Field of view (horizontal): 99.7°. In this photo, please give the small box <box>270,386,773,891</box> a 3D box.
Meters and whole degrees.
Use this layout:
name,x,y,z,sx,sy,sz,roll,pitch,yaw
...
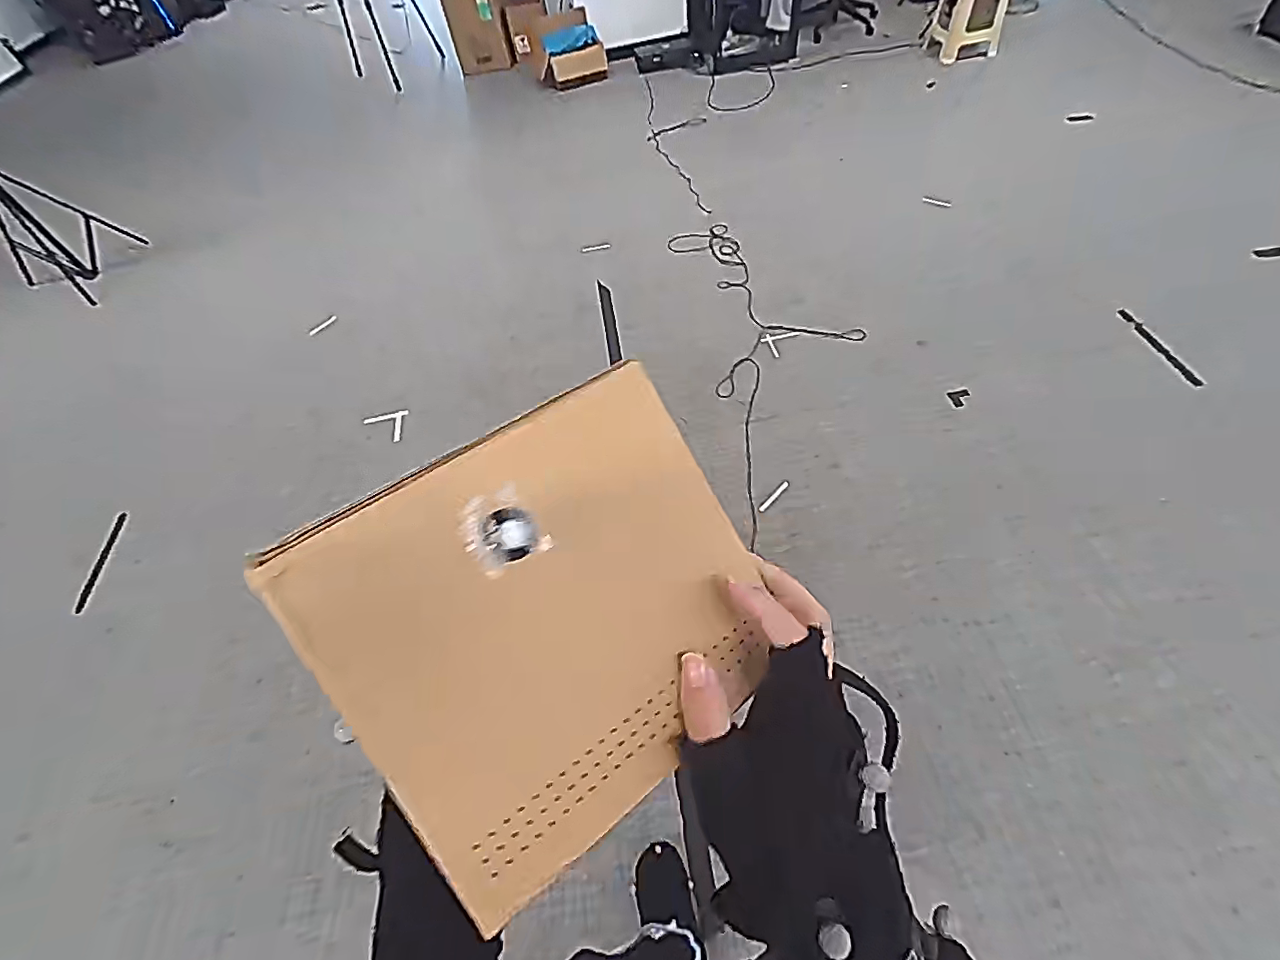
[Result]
name,x,y,z,sx,sy,sz,roll,pitch,yaw
small box,-0.058,0.076,0.317,0.179,0.168,0.176,-33,95,-19
